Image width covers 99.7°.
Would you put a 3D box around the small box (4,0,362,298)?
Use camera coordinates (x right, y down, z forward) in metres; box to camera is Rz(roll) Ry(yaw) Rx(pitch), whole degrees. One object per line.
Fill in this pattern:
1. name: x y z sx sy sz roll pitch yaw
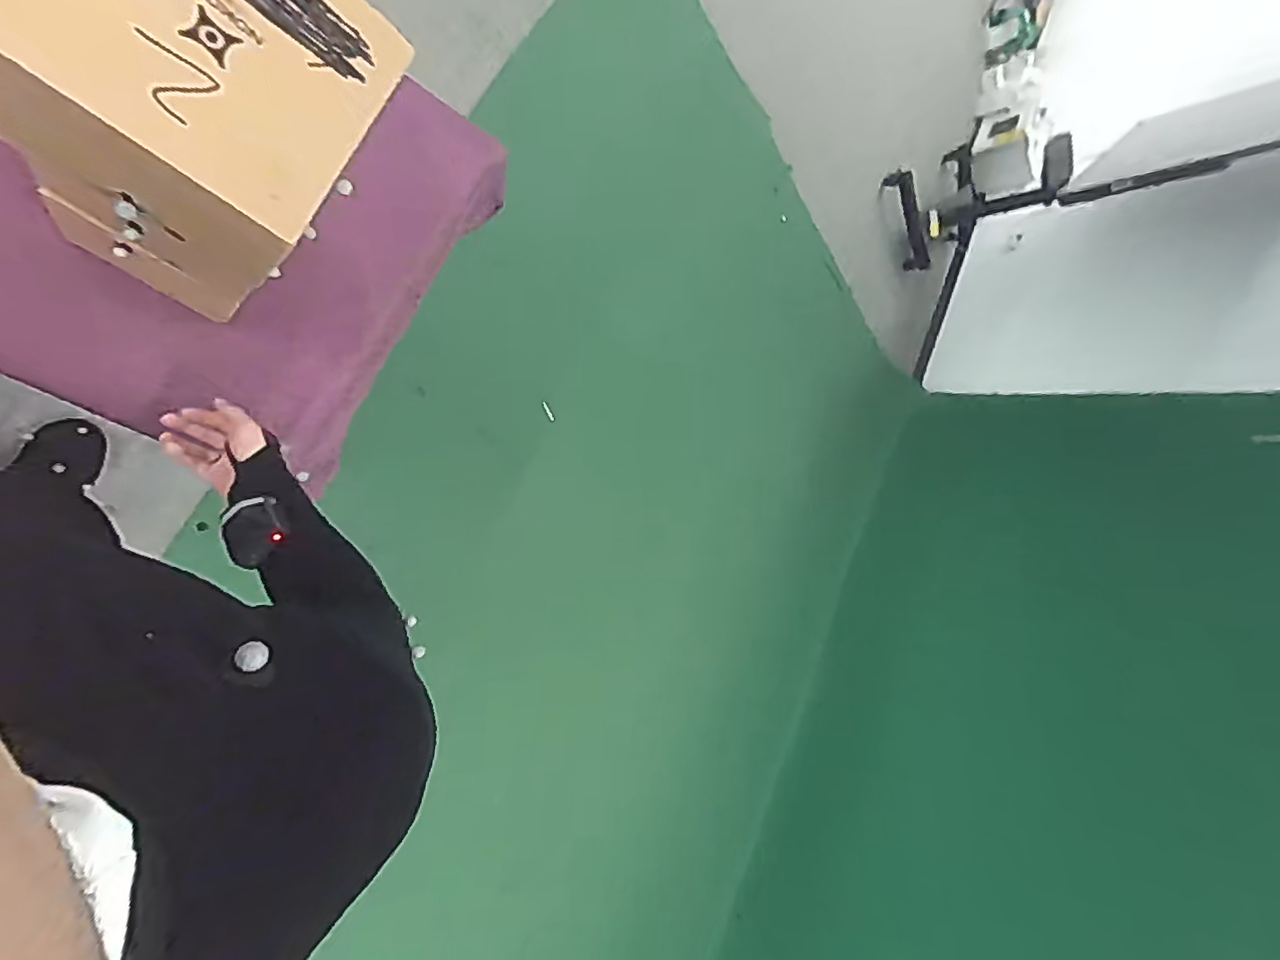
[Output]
1. small box: -0.396 -0.293 0.494 0.168 0.176 0.179 37 71 -39

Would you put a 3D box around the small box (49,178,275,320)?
1. small box: -0.506 -0.308 0.617 0.168 0.176 0.179 35 72 -38
